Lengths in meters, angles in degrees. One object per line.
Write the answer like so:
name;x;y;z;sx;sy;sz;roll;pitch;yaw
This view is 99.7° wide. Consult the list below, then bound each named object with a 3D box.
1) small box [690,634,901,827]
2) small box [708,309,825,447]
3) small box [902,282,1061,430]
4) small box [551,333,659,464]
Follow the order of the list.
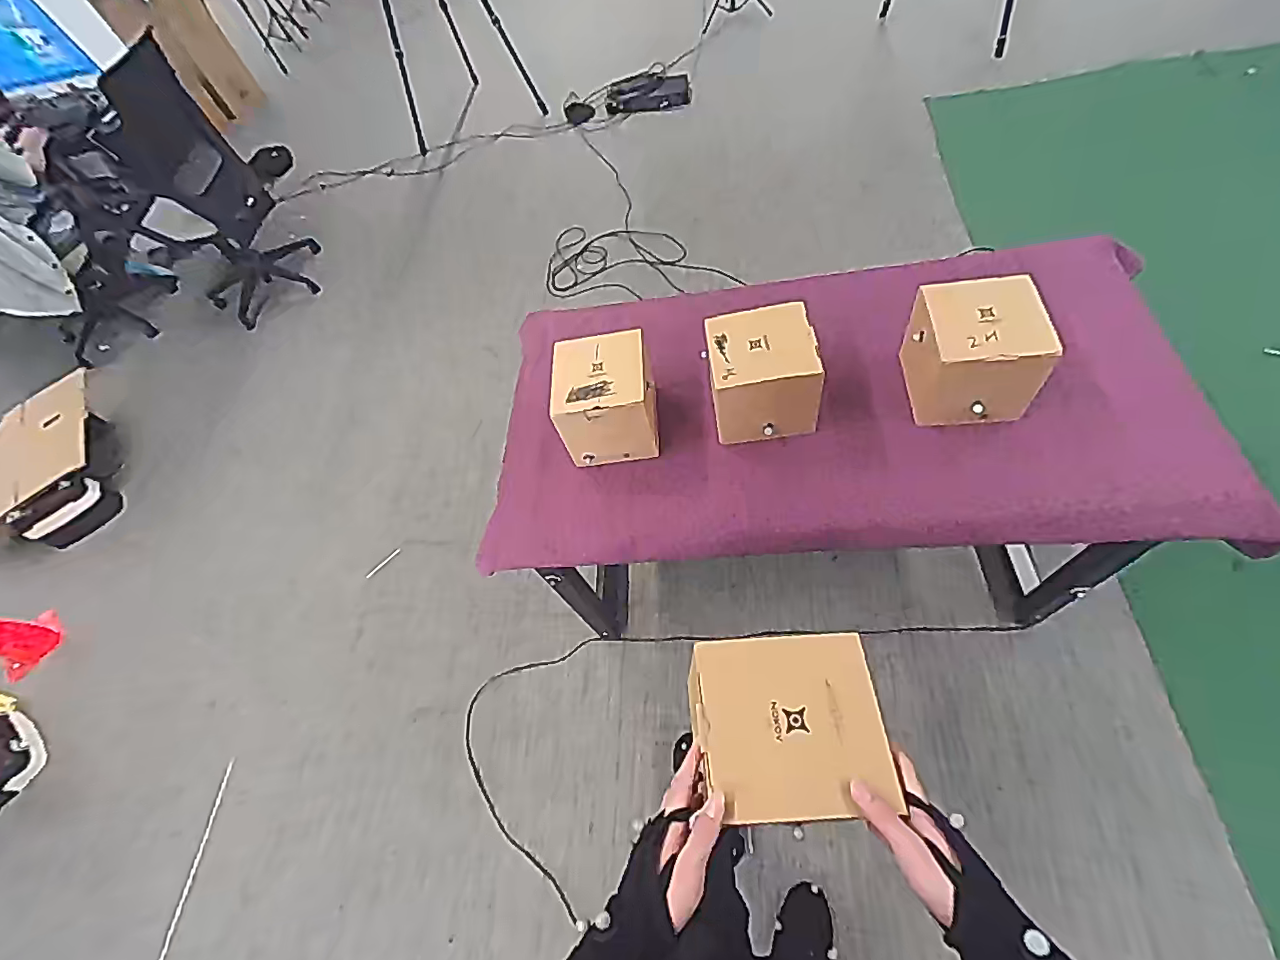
small box;0.147;0.277;0.588;0.179;0.176;0.168;-3;57;1
small box;0.219;-0.177;0.974;0.179;0.176;0.168;-7;58;8
small box;0.559;-0.204;0.915;0.168;0.176;0.179;-2;59;12
small box;-0.058;-0.142;1.013;0.168;0.176;0.179;-7;57;8
